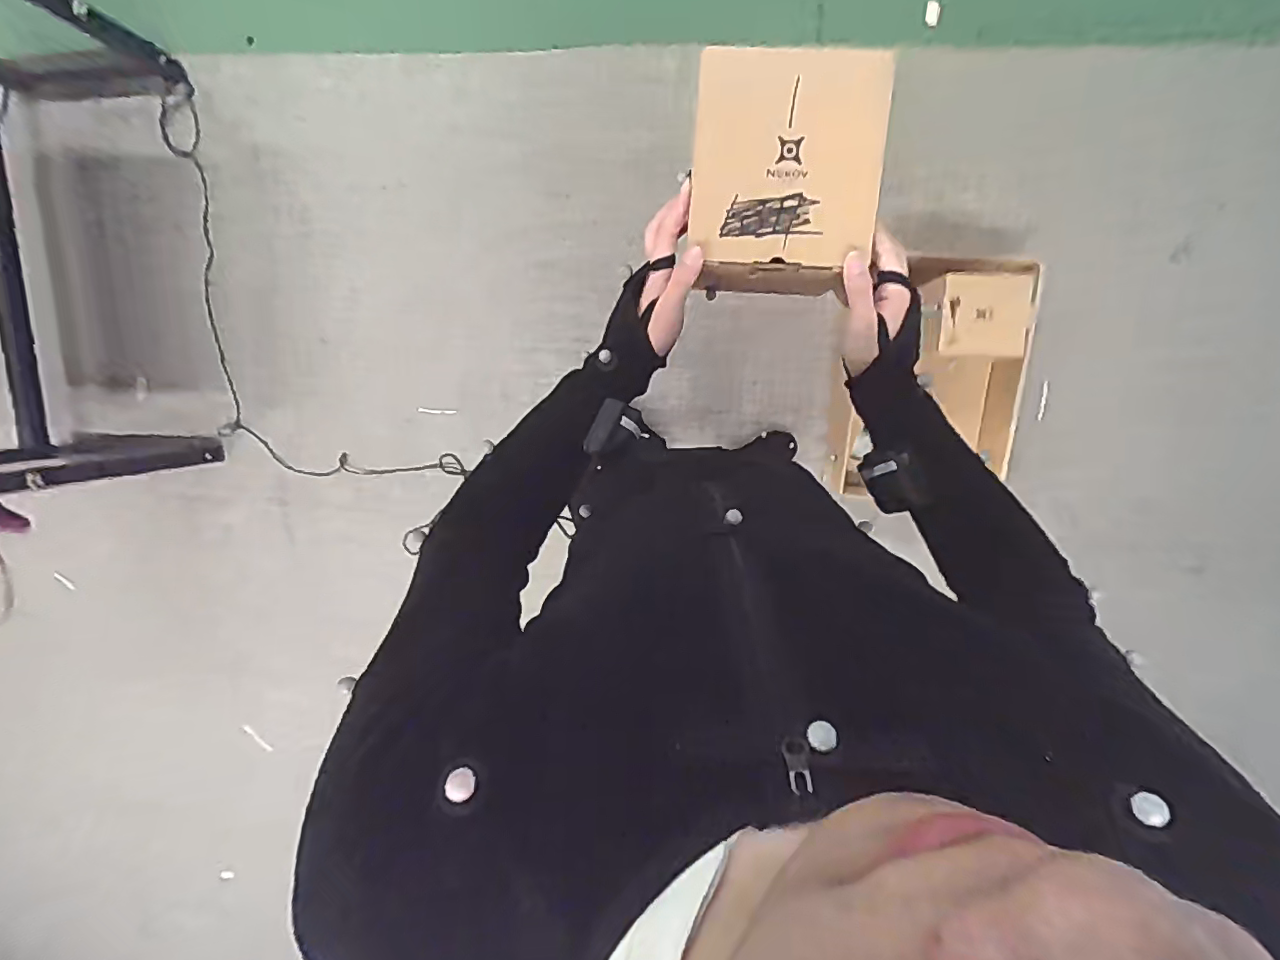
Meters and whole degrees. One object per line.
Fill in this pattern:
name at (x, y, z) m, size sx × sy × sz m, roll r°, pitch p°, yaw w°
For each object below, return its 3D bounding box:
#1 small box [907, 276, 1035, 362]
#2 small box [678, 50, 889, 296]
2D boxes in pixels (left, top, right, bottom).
small box at (0.728, -0.353, 1.207) m, size 0.179 × 0.176 × 0.168 m, roll 3°, pitch 100°, yaw 5°
small box at (0.128, -0.290, 0.549) m, size 0.168 × 0.176 × 0.179 m, roll 4°, pitch 101°, yaw 3°
